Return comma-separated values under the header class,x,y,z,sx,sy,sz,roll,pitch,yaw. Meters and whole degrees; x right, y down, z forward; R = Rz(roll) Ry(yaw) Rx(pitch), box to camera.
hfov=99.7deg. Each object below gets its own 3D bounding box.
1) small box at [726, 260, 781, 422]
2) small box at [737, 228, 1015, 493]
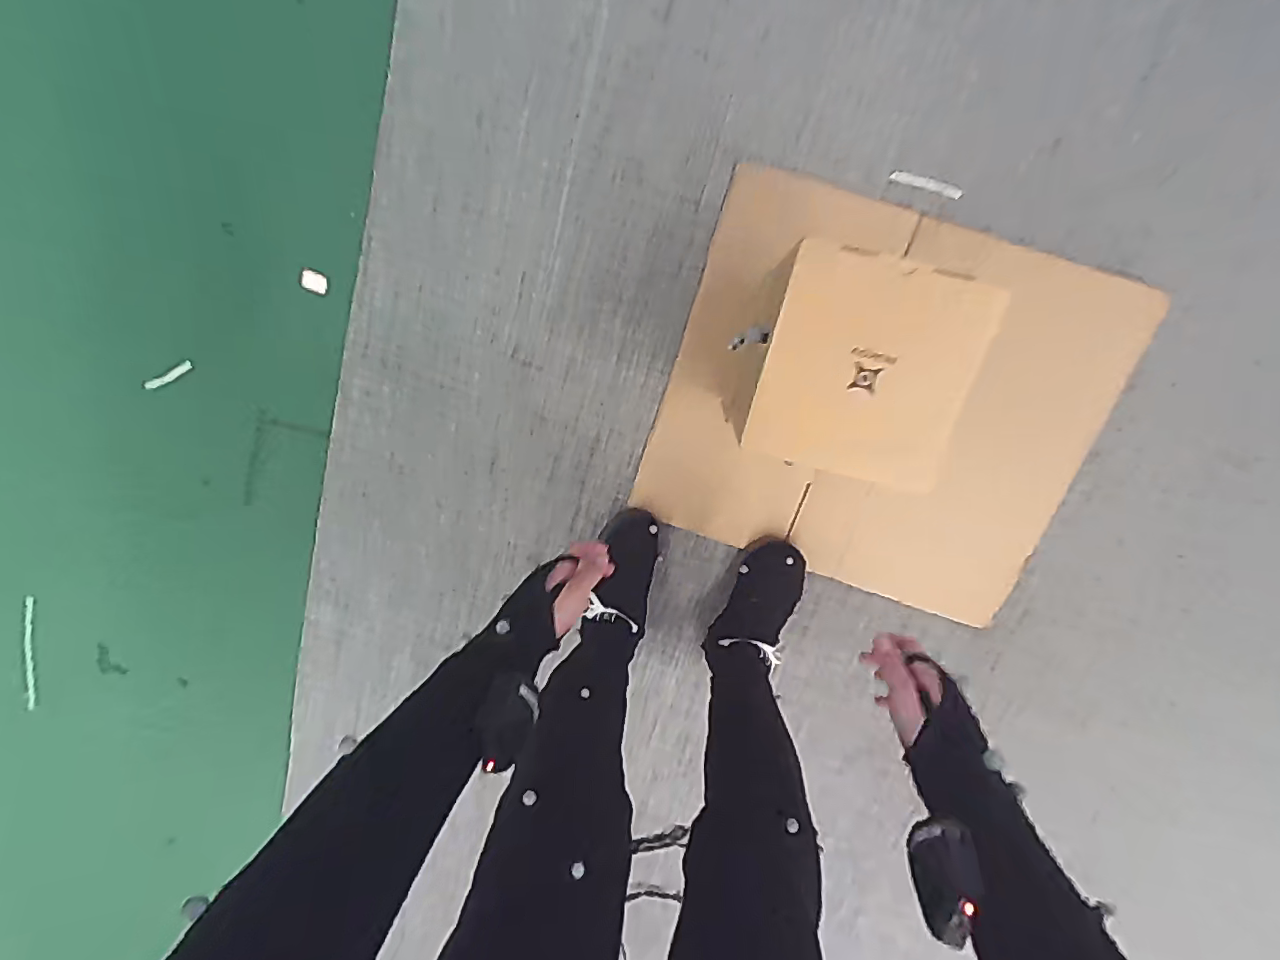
class,x,y,z,sx,sy,sz,roll,pitch,yaw
small box,0.208,-0.149,0.662,0.168,0.176,0.179,14,105,4
small box,0.193,-0.109,0.505,0.168,0.176,0.179,15,105,4
